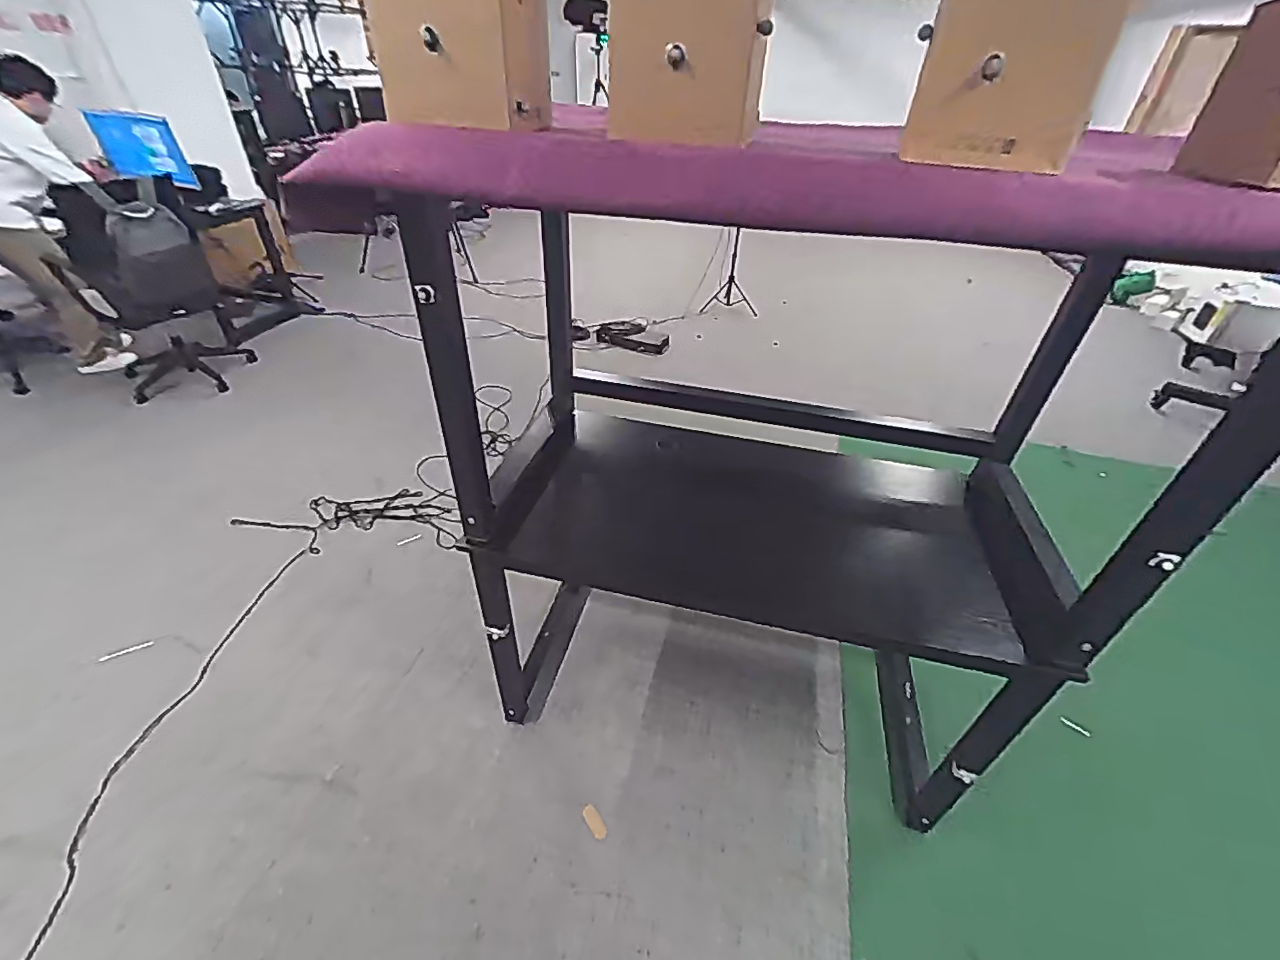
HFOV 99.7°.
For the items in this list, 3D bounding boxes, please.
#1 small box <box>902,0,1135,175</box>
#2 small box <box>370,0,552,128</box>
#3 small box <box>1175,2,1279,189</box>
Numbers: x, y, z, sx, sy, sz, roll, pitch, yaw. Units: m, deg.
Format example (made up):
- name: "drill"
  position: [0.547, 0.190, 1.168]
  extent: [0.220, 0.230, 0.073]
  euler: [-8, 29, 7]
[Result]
- name: "small box"
  position: [0.418, -0.460, 0.628]
  extent: [0.168, 0.176, 0.179]
  euler: [14, 37, 14]
- name: "small box"
  position: [-0.223, -0.572, 0.715]
  extent: [0.179, 0.176, 0.168]
  euler: [9, 37, 7]
- name: "small box"
  position: [0.751, -0.404, 0.576]
  extent: [0.168, 0.176, 0.179]
  euler: [10, 35, 8]
